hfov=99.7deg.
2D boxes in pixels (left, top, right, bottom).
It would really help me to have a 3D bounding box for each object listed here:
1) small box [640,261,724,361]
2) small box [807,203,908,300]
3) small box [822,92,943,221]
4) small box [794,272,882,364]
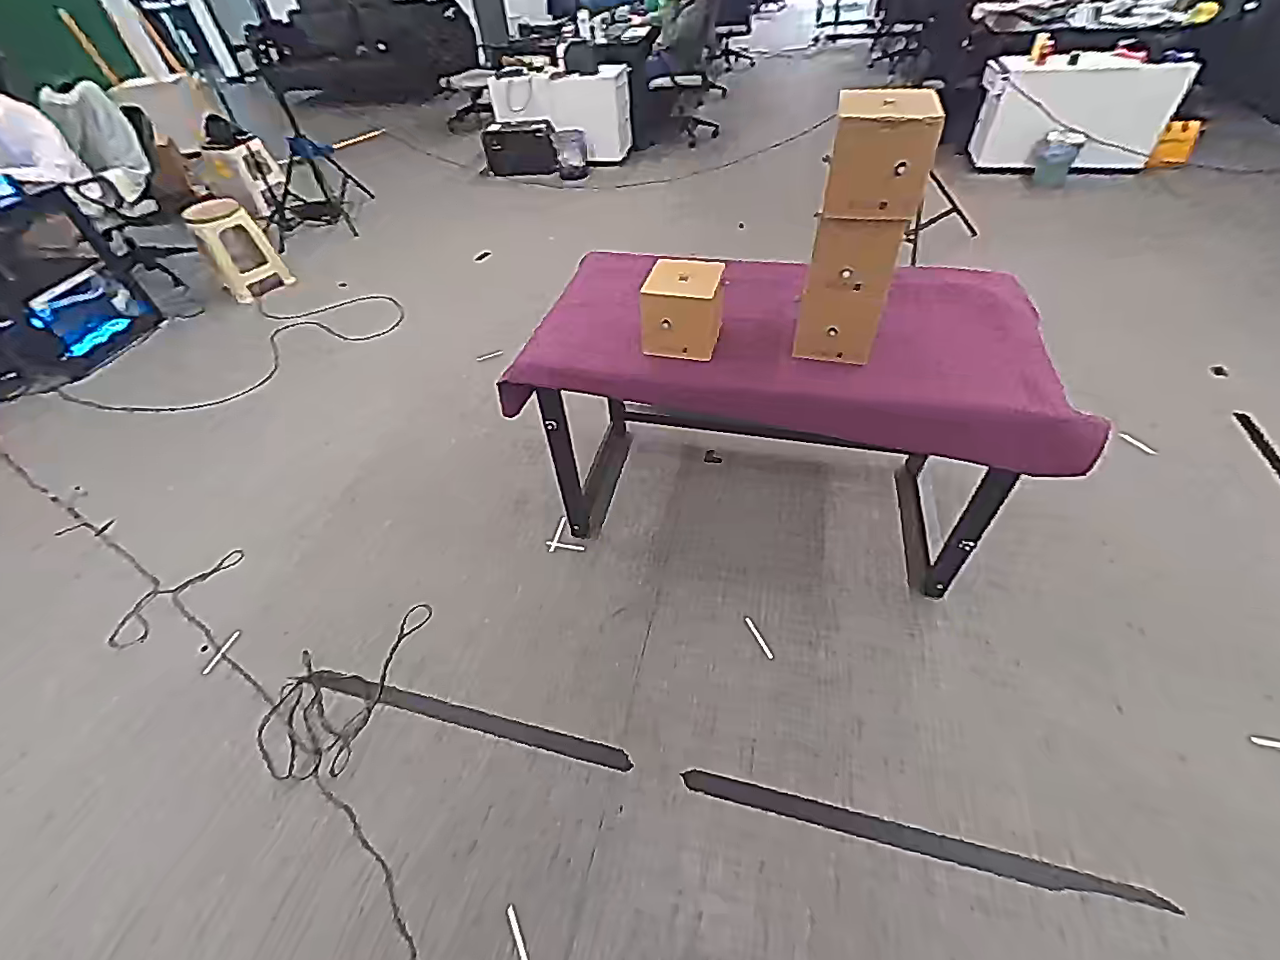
[{"bbox_3d":[0.106,-0.405,1.299,0.168,0.176,0.179,9,47,13],"label":"small box"},{"bbox_3d":[0.452,-0.504,1.137,0.168,0.176,0.179,10,49,14],"label":"small box"},{"bbox_3d":[0.439,-0.598,1.004,0.168,0.176,0.179,8,48,11],"label":"small box"},{"bbox_3d":[0.458,-0.390,1.255,0.168,0.176,0.179,11,49,14],"label":"small box"}]
